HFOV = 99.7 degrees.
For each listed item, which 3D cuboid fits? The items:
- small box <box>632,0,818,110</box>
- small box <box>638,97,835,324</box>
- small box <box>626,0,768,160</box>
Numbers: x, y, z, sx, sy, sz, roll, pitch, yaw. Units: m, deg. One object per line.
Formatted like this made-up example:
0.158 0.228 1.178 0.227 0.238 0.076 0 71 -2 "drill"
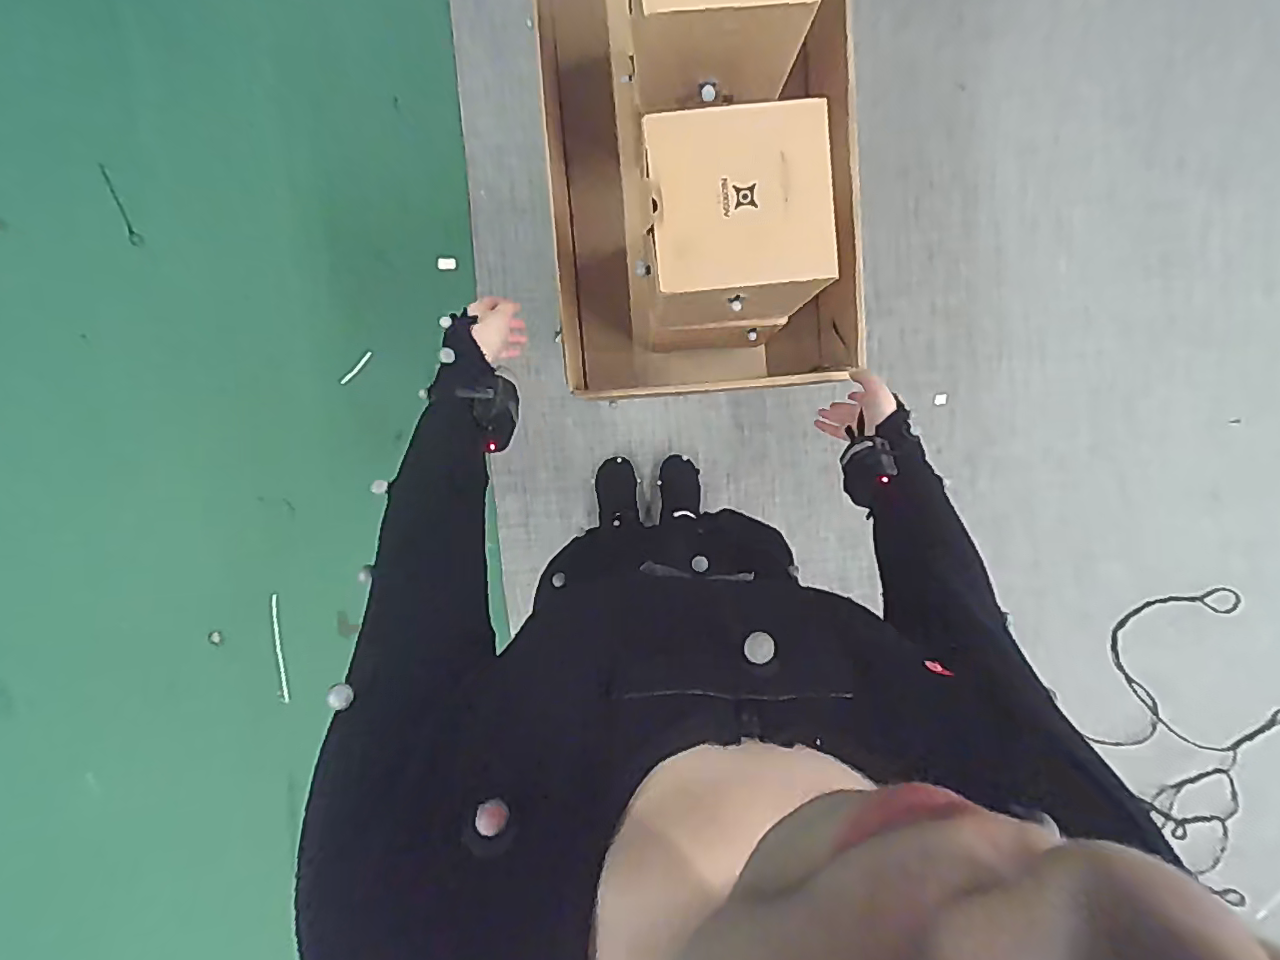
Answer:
0.076 -0.525 0.561 0.168 0.176 0.179 -4 97 0 "small box"
0.092 -0.274 0.589 0.179 0.176 0.168 -6 95 0 "small box"
0.074 -0.548 0.725 0.179 0.176 0.168 -3 97 1 "small box"
